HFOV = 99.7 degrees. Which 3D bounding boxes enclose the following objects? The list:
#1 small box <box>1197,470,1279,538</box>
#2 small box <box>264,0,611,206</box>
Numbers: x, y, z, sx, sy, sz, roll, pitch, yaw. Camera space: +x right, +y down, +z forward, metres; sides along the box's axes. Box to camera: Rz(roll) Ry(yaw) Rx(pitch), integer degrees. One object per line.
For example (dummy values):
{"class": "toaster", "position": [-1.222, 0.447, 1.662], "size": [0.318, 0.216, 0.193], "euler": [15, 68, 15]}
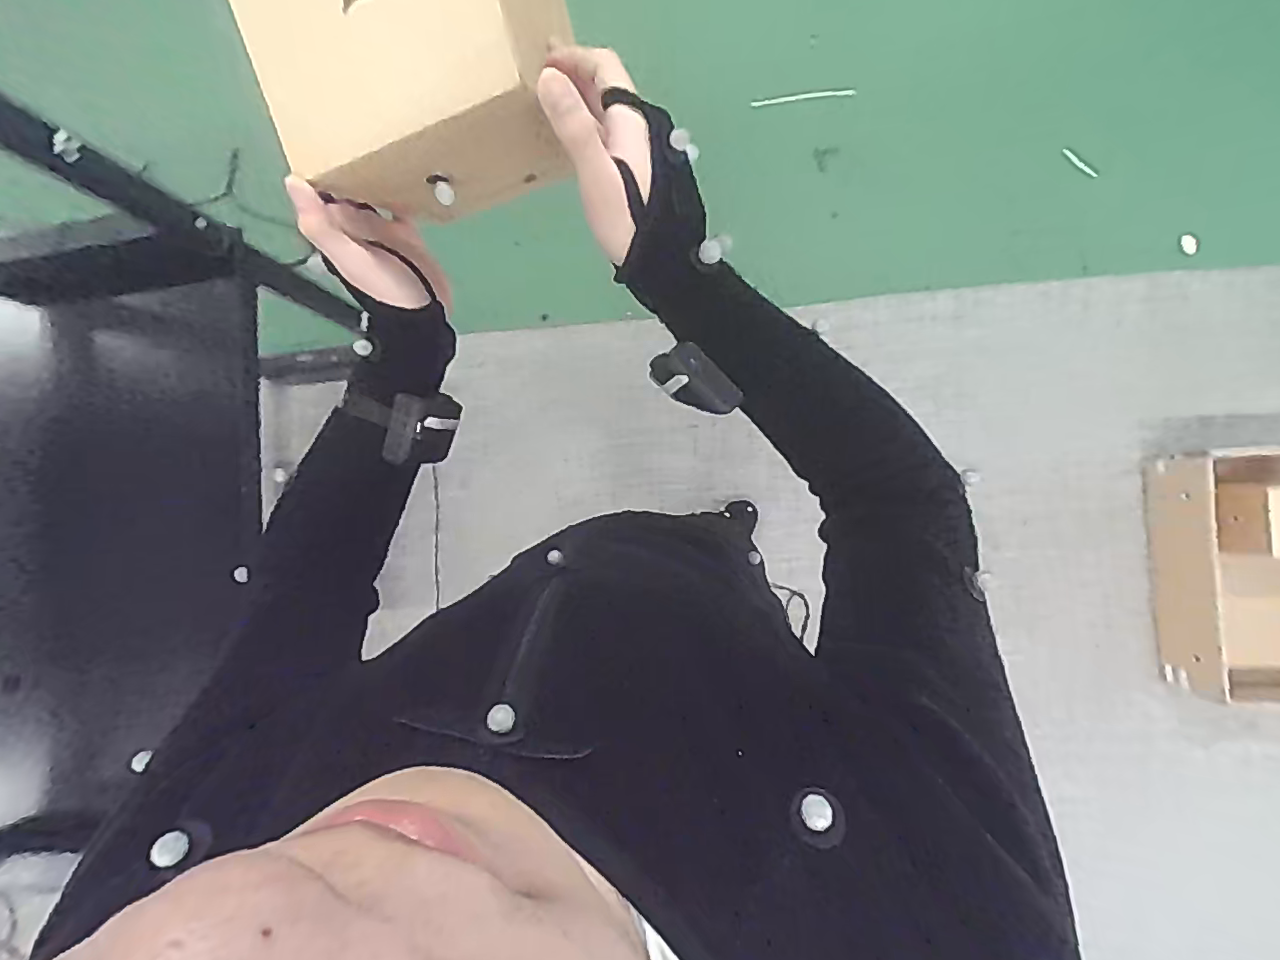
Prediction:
{"class": "small box", "position": [1.561, 0.060, 1.358], "size": [0.179, 0.176, 0.168], "euler": [-2, 88, 6]}
{"class": "small box", "position": [-0.133, -0.317, 0.392], "size": [0.168, 0.176, 0.179], "euler": [-12, 104, 15]}
